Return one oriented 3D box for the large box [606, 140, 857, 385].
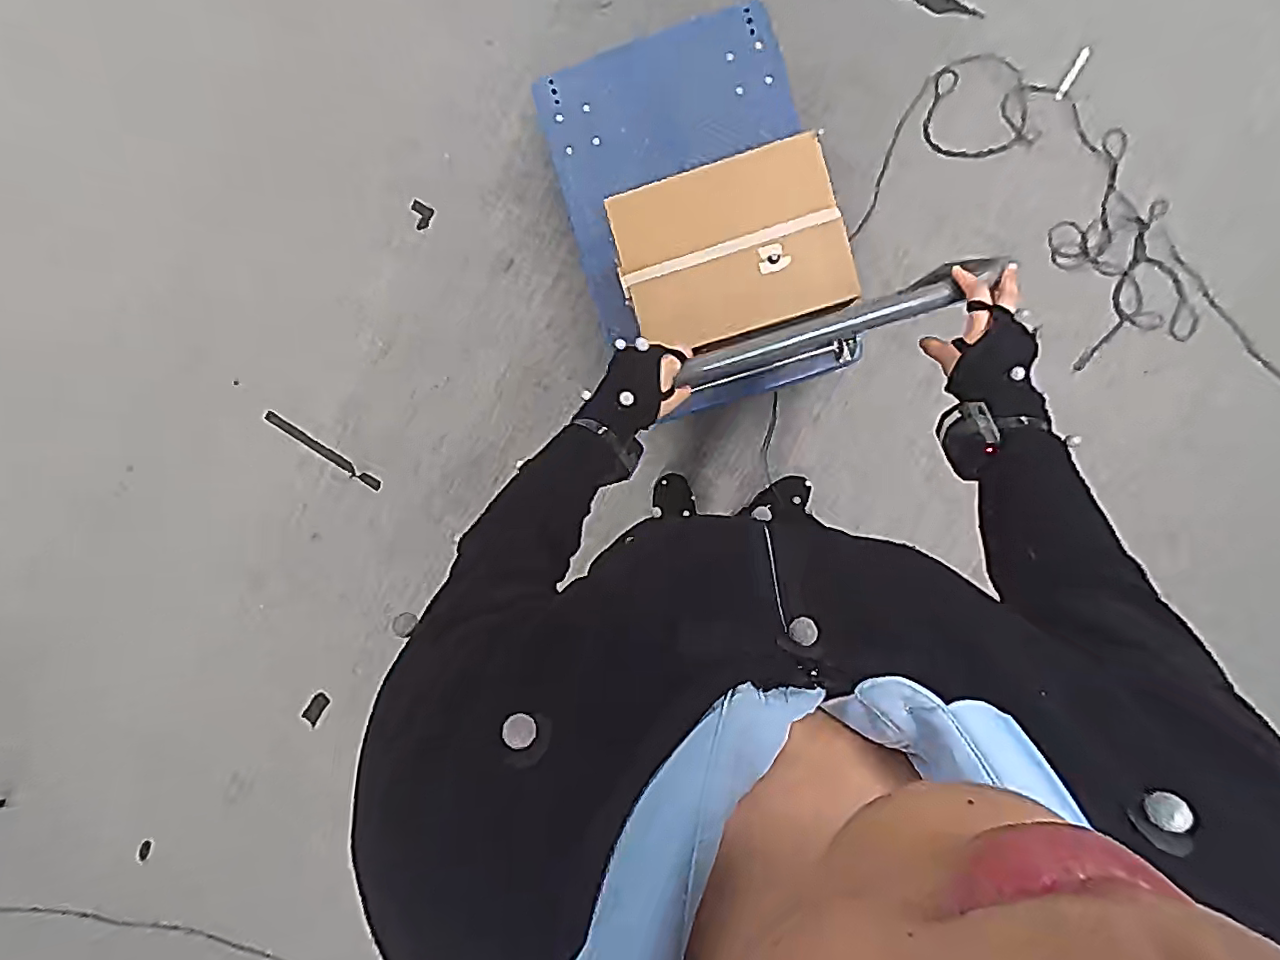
[{"bbox_3d":[0.175,-0.422,1.146,0.408,0.320,0.320,-16,93,4],"label":"large box"}]
